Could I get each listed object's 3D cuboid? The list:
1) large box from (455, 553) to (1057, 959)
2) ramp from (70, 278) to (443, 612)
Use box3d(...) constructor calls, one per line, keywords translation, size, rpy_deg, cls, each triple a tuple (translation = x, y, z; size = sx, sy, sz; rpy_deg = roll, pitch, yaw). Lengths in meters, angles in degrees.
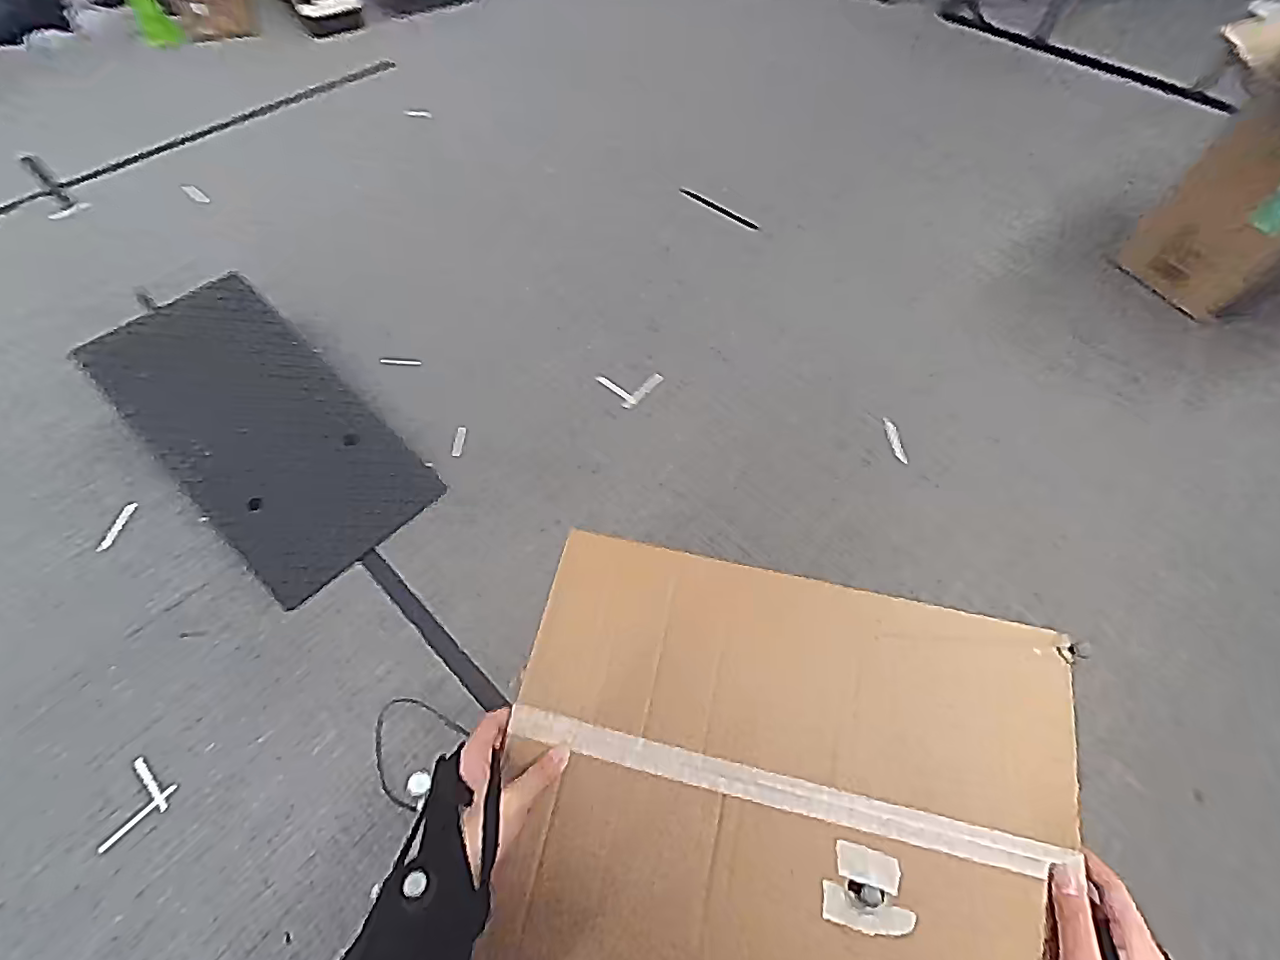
box3d(translation=(0.098, 0.287, 0.538), size=(0.408, 0.320, 0.320), rpy_deg=(9, 69, 7), cls="large box")
box3d(translation=(-1.068, -0.150, 1.522), size=(0.991, 0.206, 0.509), rpy_deg=(38, 64, 18), cls="ramp")
